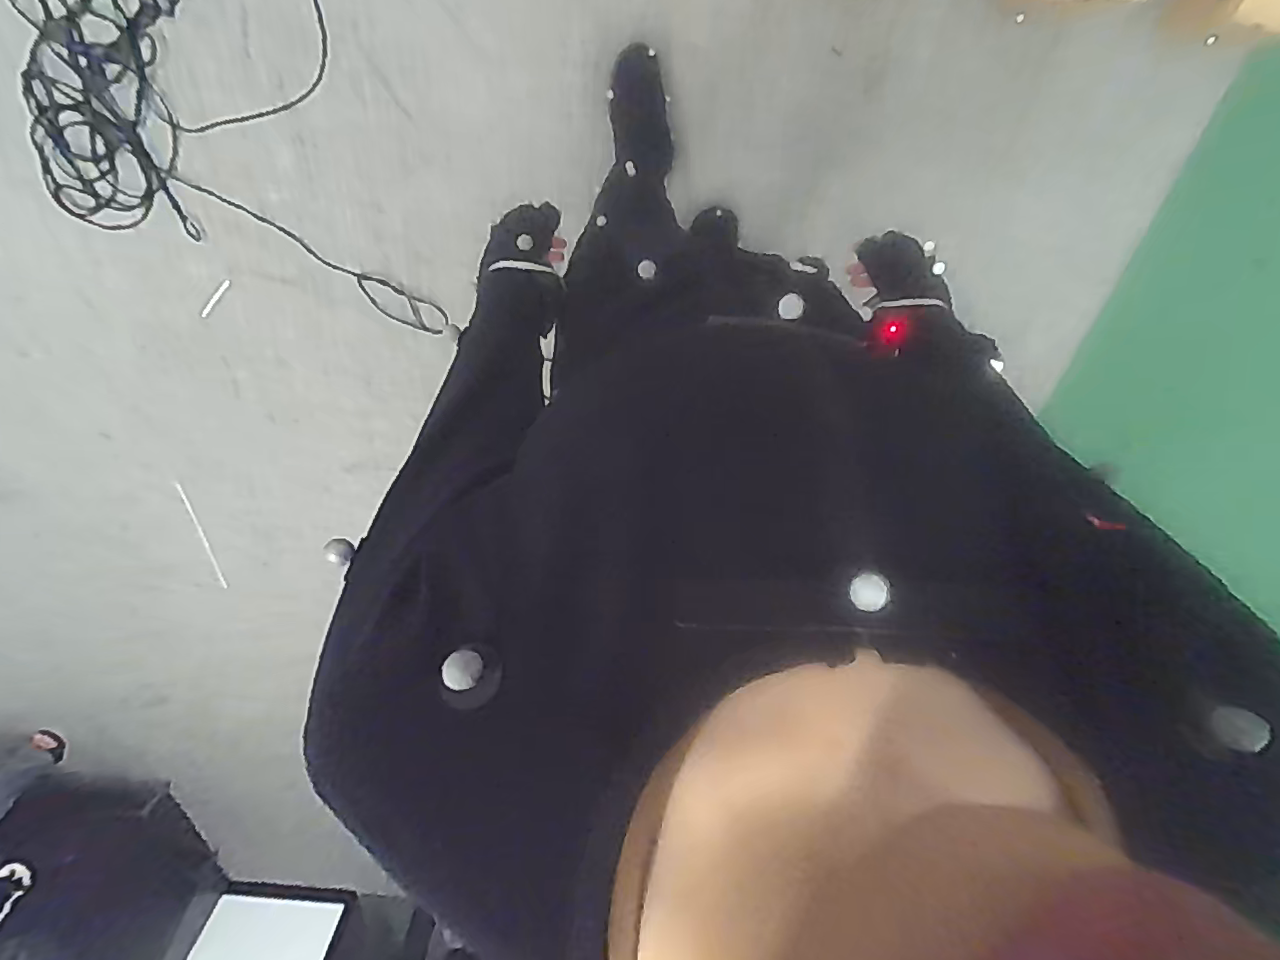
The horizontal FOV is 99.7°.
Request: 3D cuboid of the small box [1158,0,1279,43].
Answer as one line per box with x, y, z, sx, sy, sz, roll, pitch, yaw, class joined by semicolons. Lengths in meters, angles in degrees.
1.080;-0.890;0.938;0.168;0.176;0.179;8;125;-3;small box
